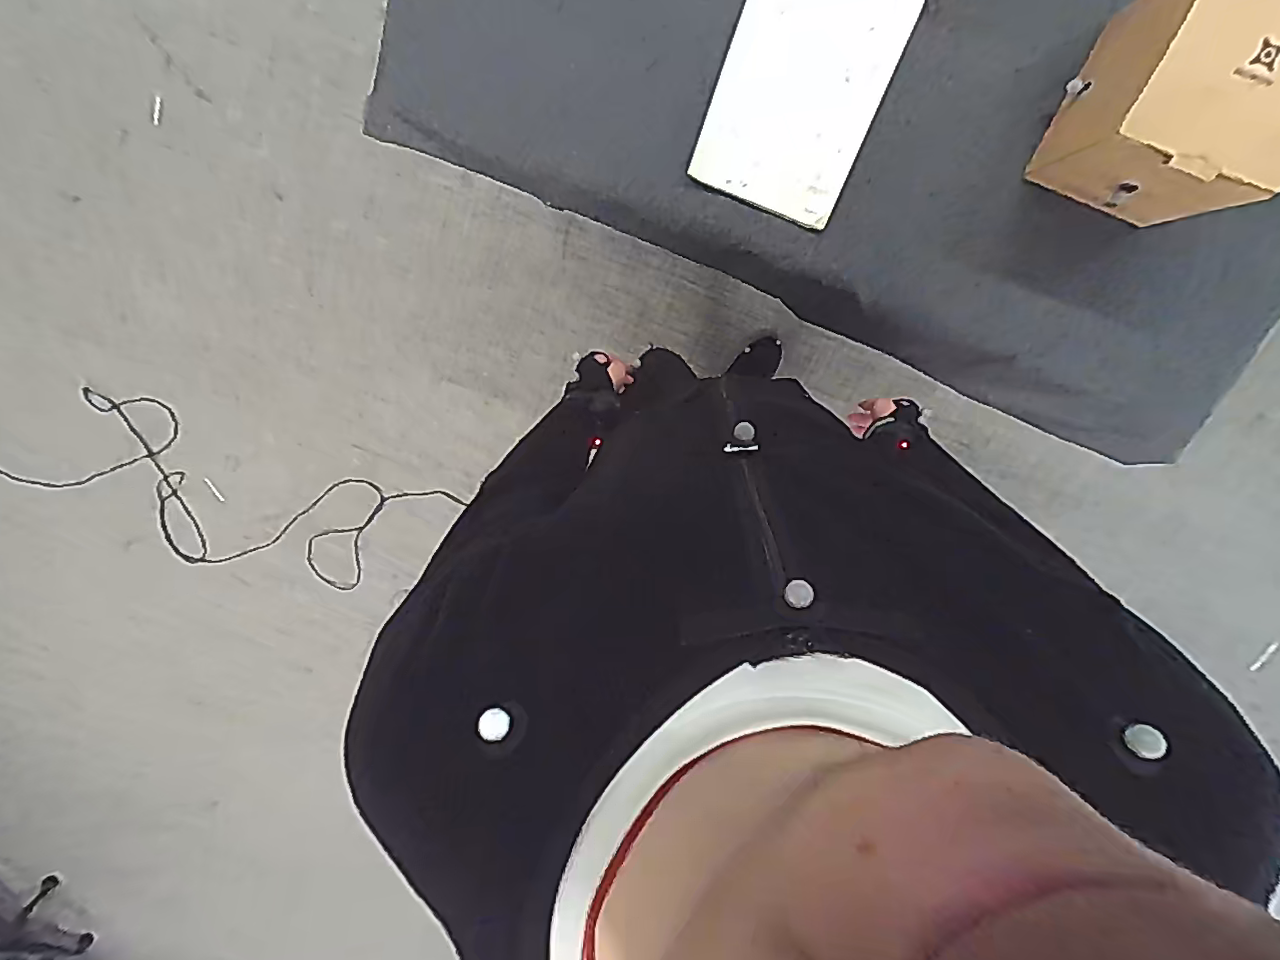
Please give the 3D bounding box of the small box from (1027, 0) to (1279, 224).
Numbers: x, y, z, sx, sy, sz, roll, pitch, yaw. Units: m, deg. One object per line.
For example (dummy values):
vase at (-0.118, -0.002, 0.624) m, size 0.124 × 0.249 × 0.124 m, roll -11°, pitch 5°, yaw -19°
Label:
small box at (0.566, -0.397, 0.579) m, size 0.168 × 0.176 × 0.179 m, roll 22°, pitch 109°, yaw 0°
